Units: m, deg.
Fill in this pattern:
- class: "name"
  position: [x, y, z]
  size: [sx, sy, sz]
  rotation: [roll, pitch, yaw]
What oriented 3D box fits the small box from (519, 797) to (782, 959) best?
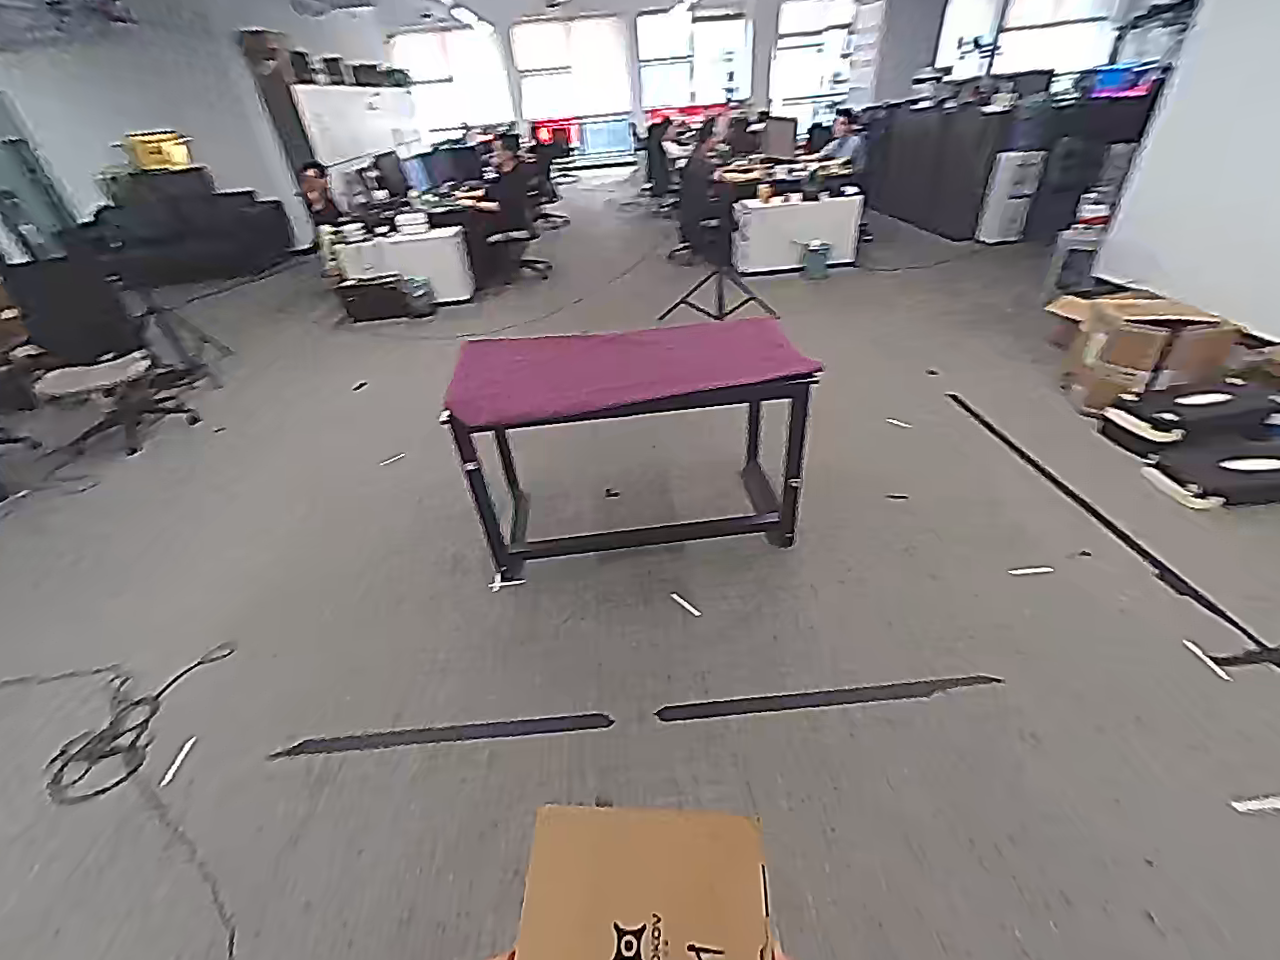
- class: "small box"
  position: [0.013, 0.360, 0.419]
  size: [0.179, 0.176, 0.168]
  rotation: [-1, 50, 6]
